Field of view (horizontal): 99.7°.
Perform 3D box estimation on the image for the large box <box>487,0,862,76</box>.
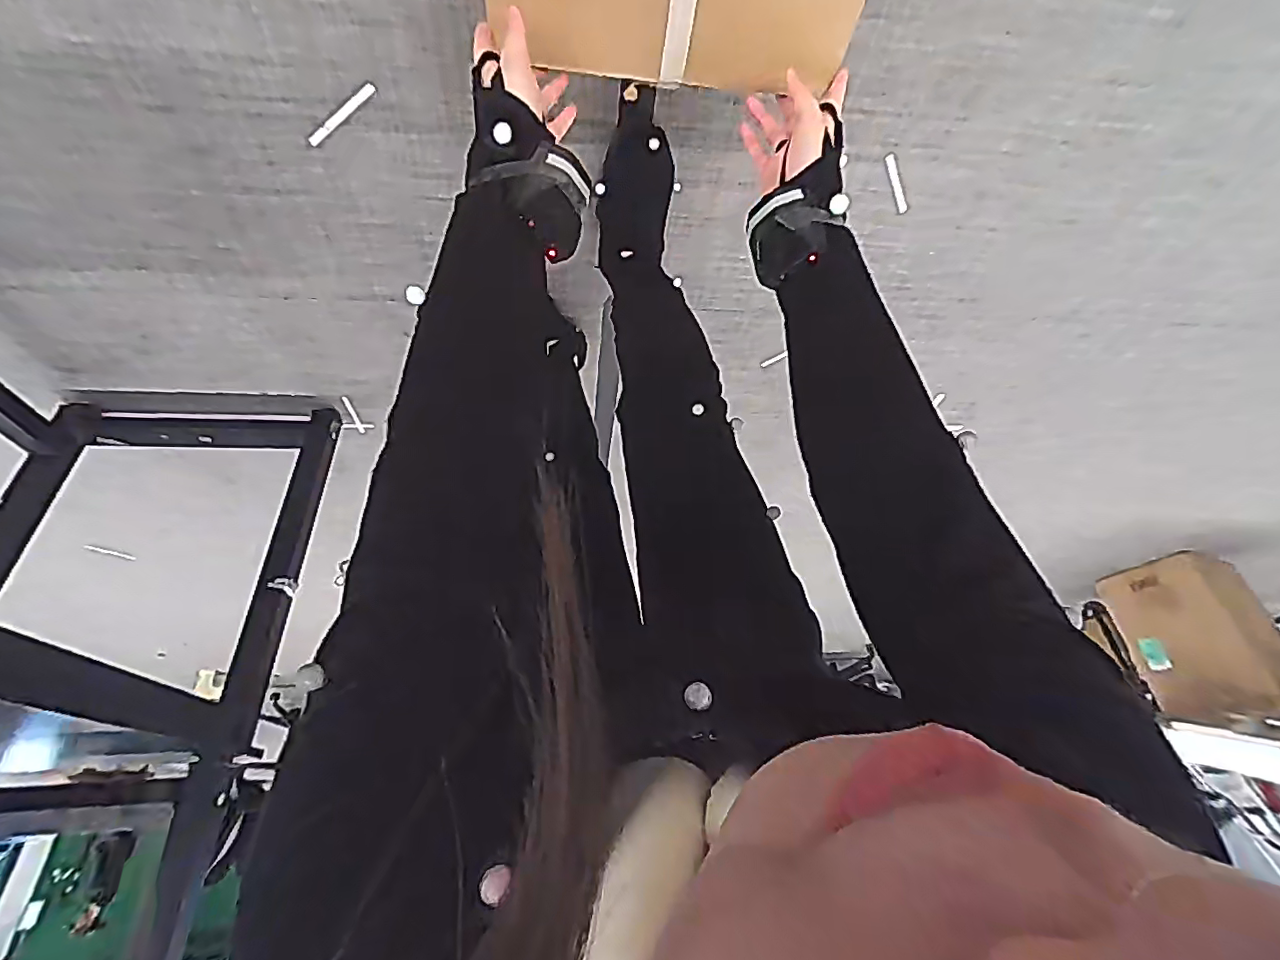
[{"bbox_3d":[0.039,-0.602,0.395,0.320,0.320,0.408,0,147,-8],"label":"large box"}]
